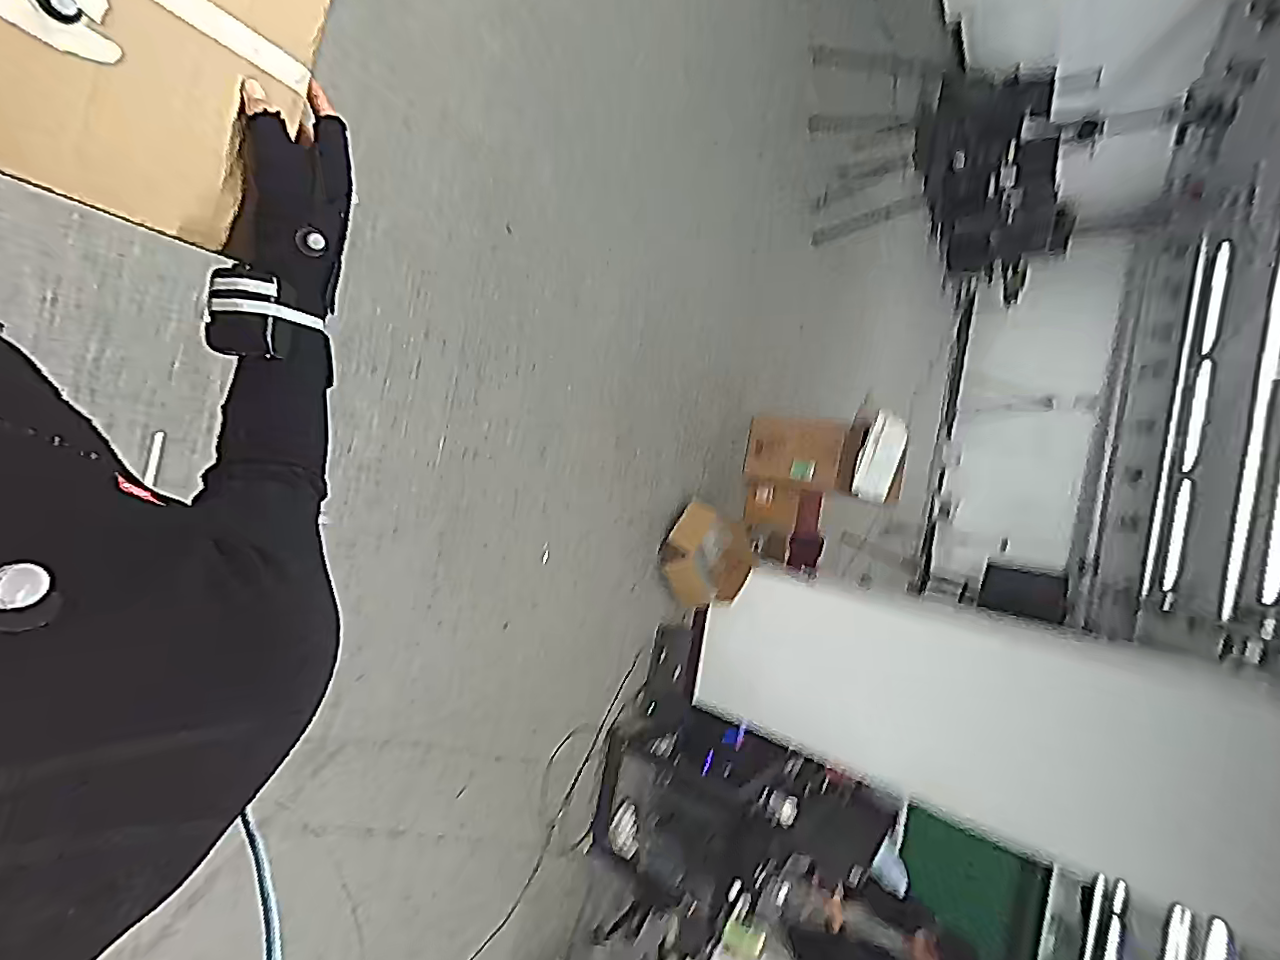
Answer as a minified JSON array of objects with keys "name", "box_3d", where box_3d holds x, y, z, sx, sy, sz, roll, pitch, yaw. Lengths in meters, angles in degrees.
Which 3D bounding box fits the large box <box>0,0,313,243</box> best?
[{"name":"large box","box_3d":[-0.513,-0.414,0.375,0.408,0.320,0.320,9,105,-54]}]
